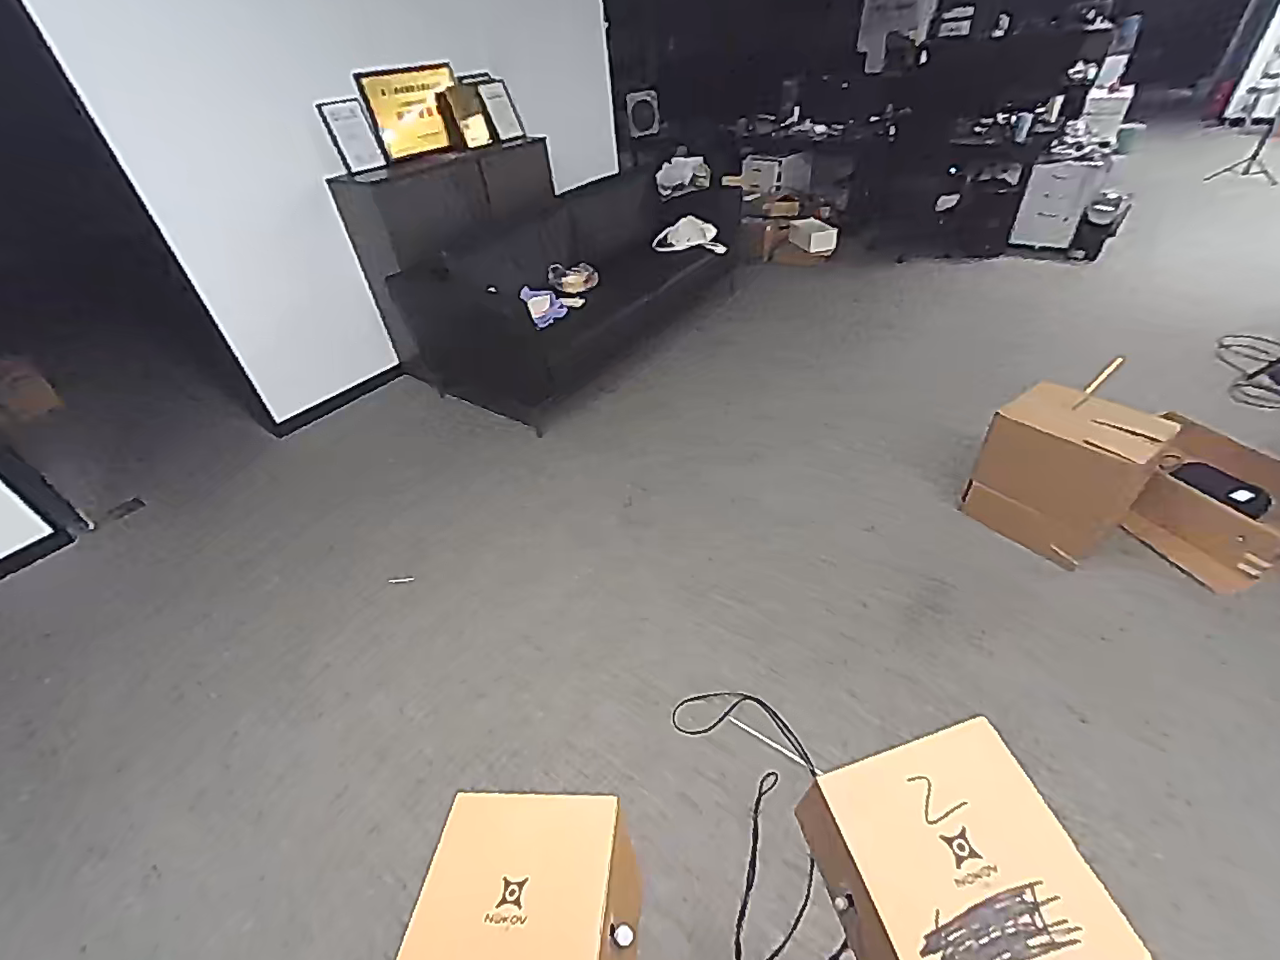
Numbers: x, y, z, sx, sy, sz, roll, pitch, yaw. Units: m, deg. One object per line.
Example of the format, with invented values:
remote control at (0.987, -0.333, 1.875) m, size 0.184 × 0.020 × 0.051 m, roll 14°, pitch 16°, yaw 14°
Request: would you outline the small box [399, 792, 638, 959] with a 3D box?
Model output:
small box at (-0.097, 0.421, 0.496) m, size 0.168 × 0.176 × 0.179 m, roll -3°, pitch 32°, yaw 8°
